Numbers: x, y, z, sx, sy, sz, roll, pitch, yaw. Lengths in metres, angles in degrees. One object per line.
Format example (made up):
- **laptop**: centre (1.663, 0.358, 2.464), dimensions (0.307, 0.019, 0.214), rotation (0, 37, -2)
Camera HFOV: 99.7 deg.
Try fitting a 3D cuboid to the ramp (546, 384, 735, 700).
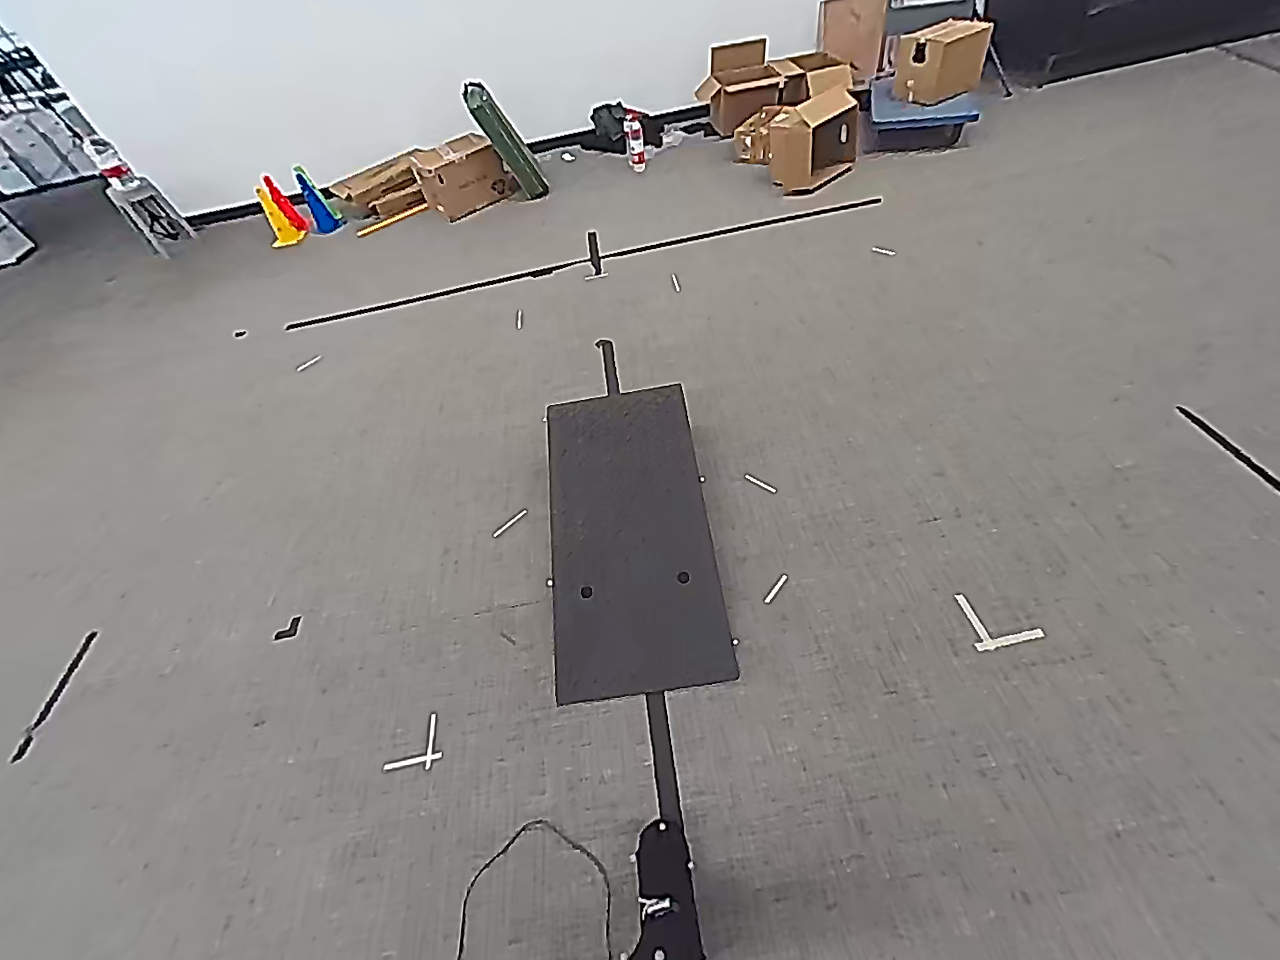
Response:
- **ramp**: centre (-0.039, 0.125, 1.678), dimensions (0.509, 0.206, 0.991), rotation (-10, 49, 1)
